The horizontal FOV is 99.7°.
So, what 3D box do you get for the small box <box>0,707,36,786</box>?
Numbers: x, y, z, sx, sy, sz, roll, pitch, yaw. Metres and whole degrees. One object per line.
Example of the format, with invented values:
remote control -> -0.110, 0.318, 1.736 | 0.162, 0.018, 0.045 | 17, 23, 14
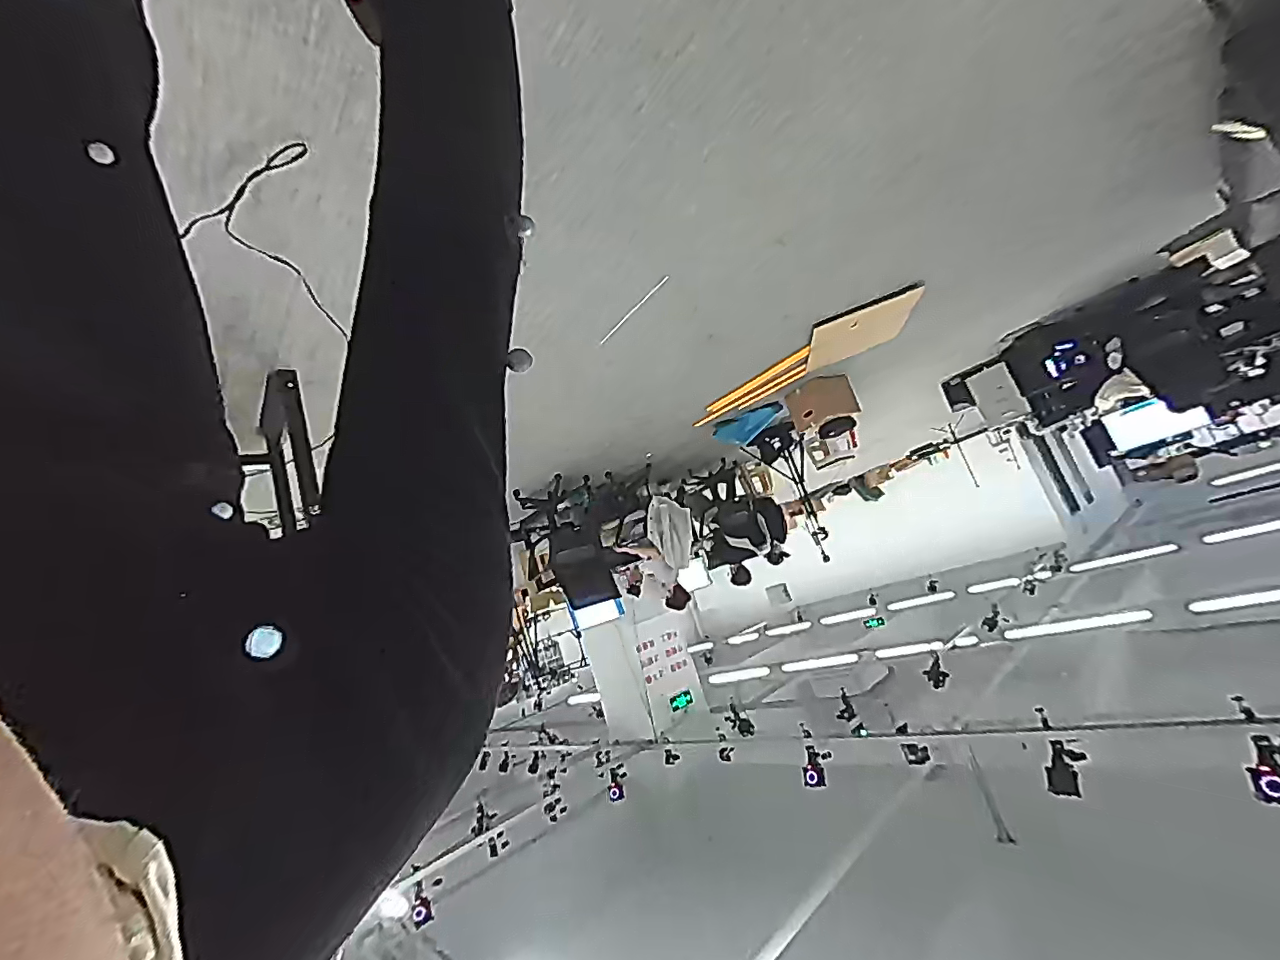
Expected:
small box -> -1.602, 0.662, 1.305 | 0.168, 0.176, 0.179 | -7, 163, -42
